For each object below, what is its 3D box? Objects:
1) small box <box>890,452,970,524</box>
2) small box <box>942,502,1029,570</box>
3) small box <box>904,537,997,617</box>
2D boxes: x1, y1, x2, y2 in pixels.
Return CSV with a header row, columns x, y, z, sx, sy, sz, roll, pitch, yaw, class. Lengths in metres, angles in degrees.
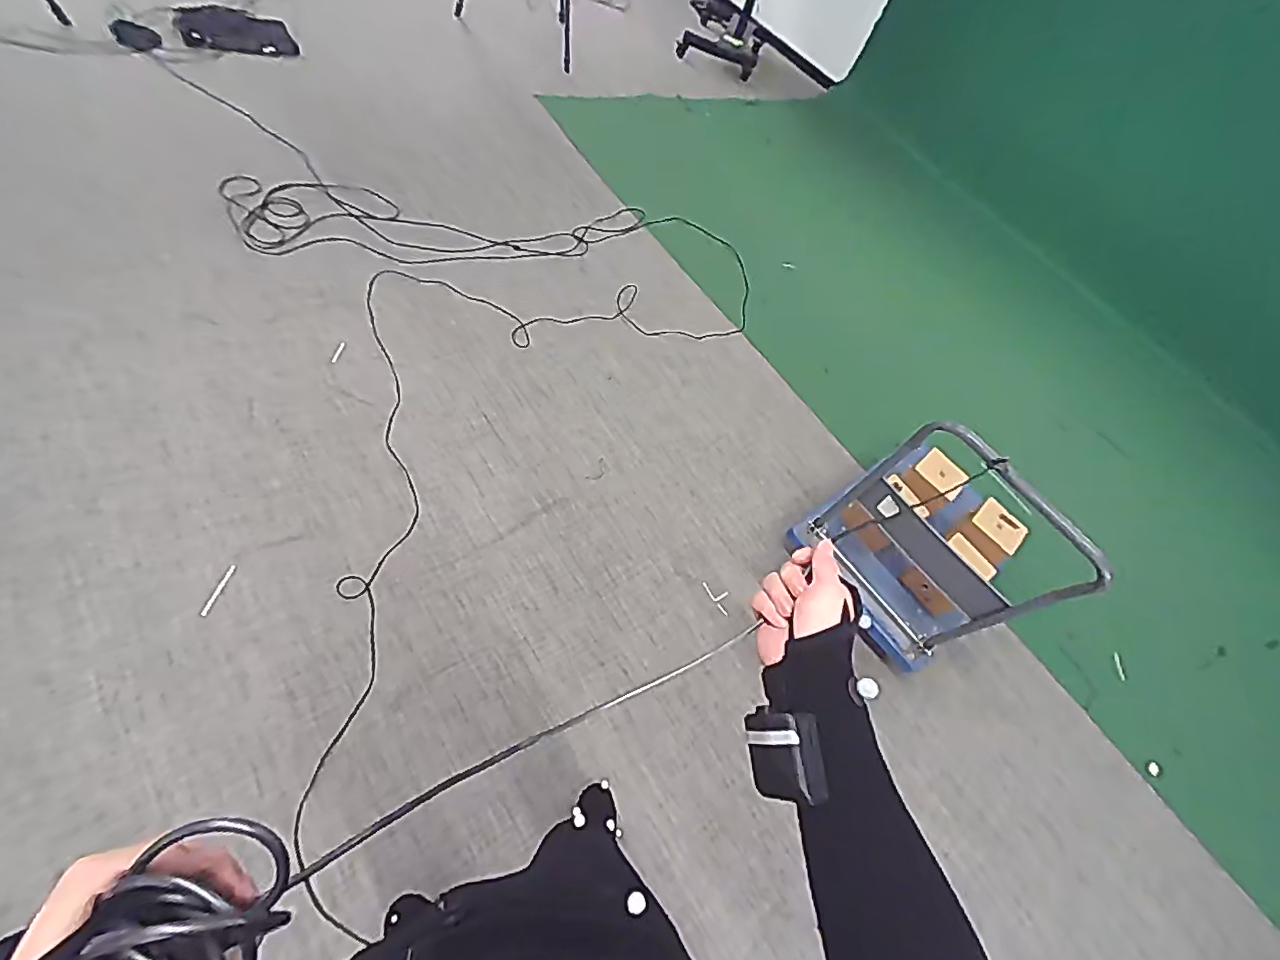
x,y,z,sx,sy,sz,roll,pitch,yaw,class
1.054,0.034,1.982,0.179,0.176,0.168,-32,73,-32,small box
1.218,0.214,1.916,0.179,0.176,0.168,-32,71,-31,small box
1.012,0.322,1.778,0.179,0.176,0.168,-27,69,-29,small box
